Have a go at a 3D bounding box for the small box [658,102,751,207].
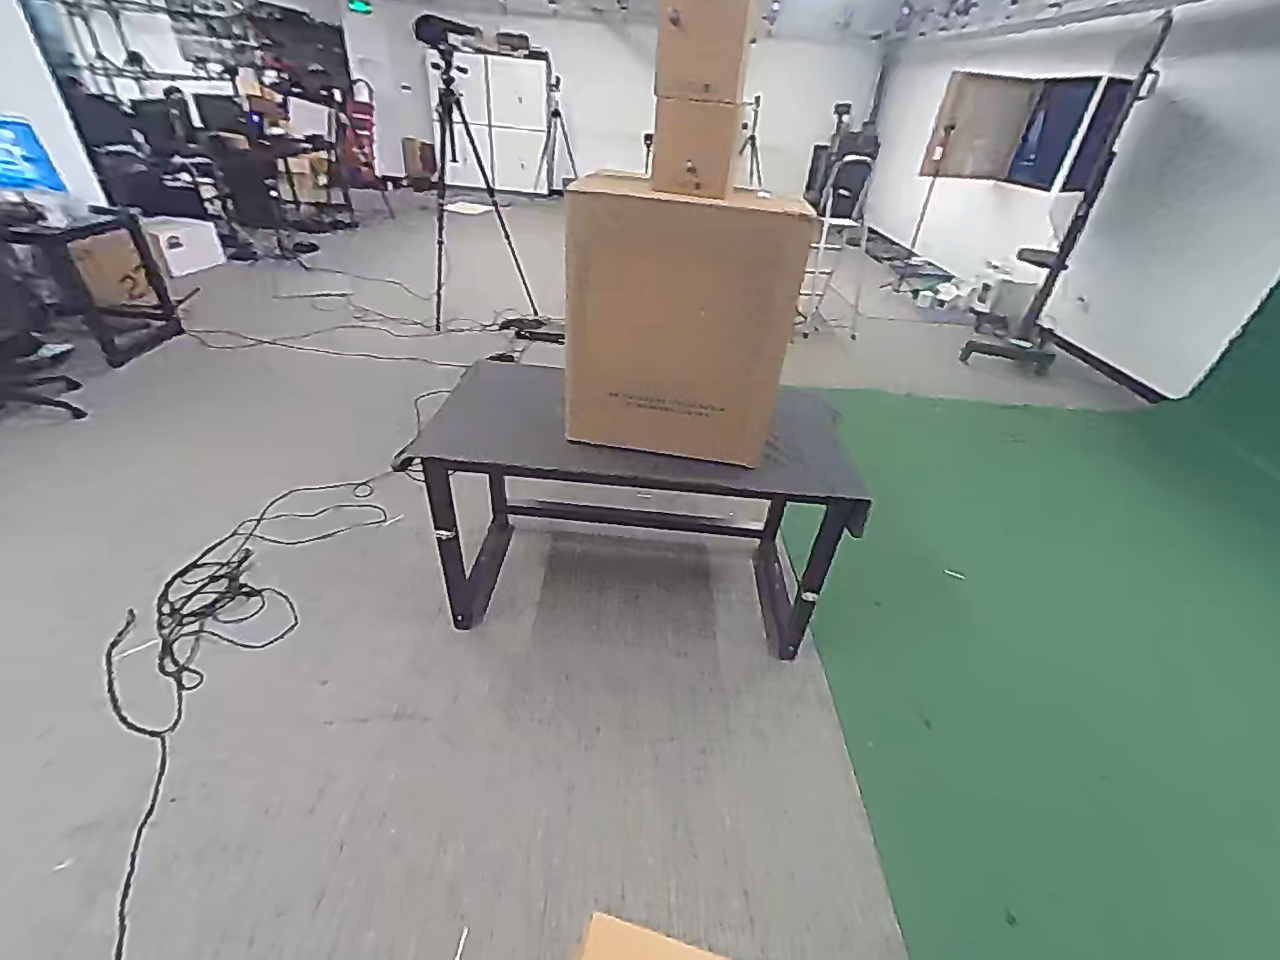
[{"bbox_3d":[0.139,-0.711,1.179,0.168,0.176,0.179,12,38,8],"label":"small box"}]
